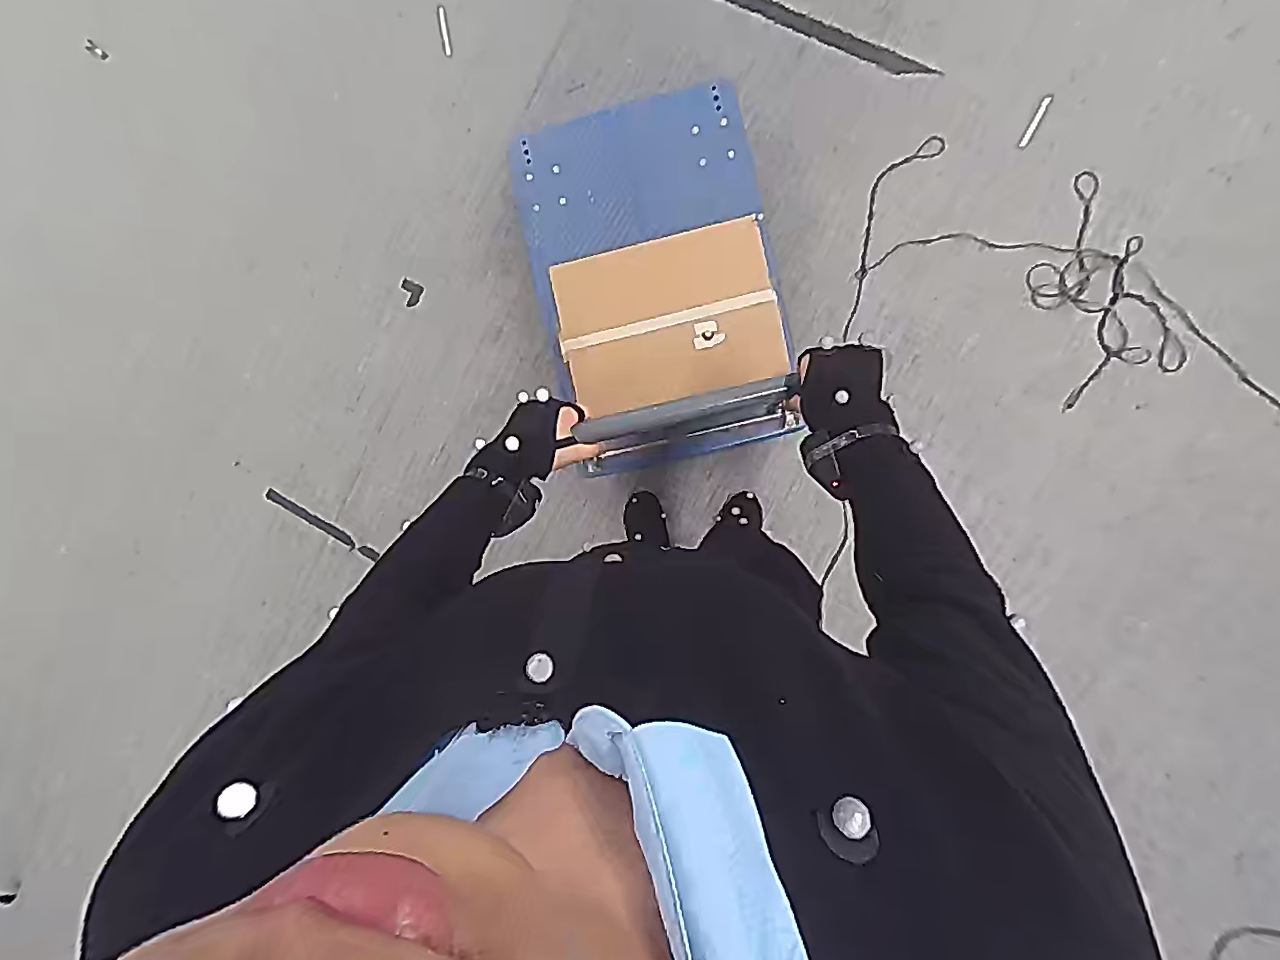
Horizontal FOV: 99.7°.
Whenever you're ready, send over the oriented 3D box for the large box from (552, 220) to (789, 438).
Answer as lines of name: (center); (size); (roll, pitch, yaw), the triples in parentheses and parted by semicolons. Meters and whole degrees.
large box: (0.064, -0.294, 1.173); (0.408, 0.320, 0.320); (-13, 90, 4)
